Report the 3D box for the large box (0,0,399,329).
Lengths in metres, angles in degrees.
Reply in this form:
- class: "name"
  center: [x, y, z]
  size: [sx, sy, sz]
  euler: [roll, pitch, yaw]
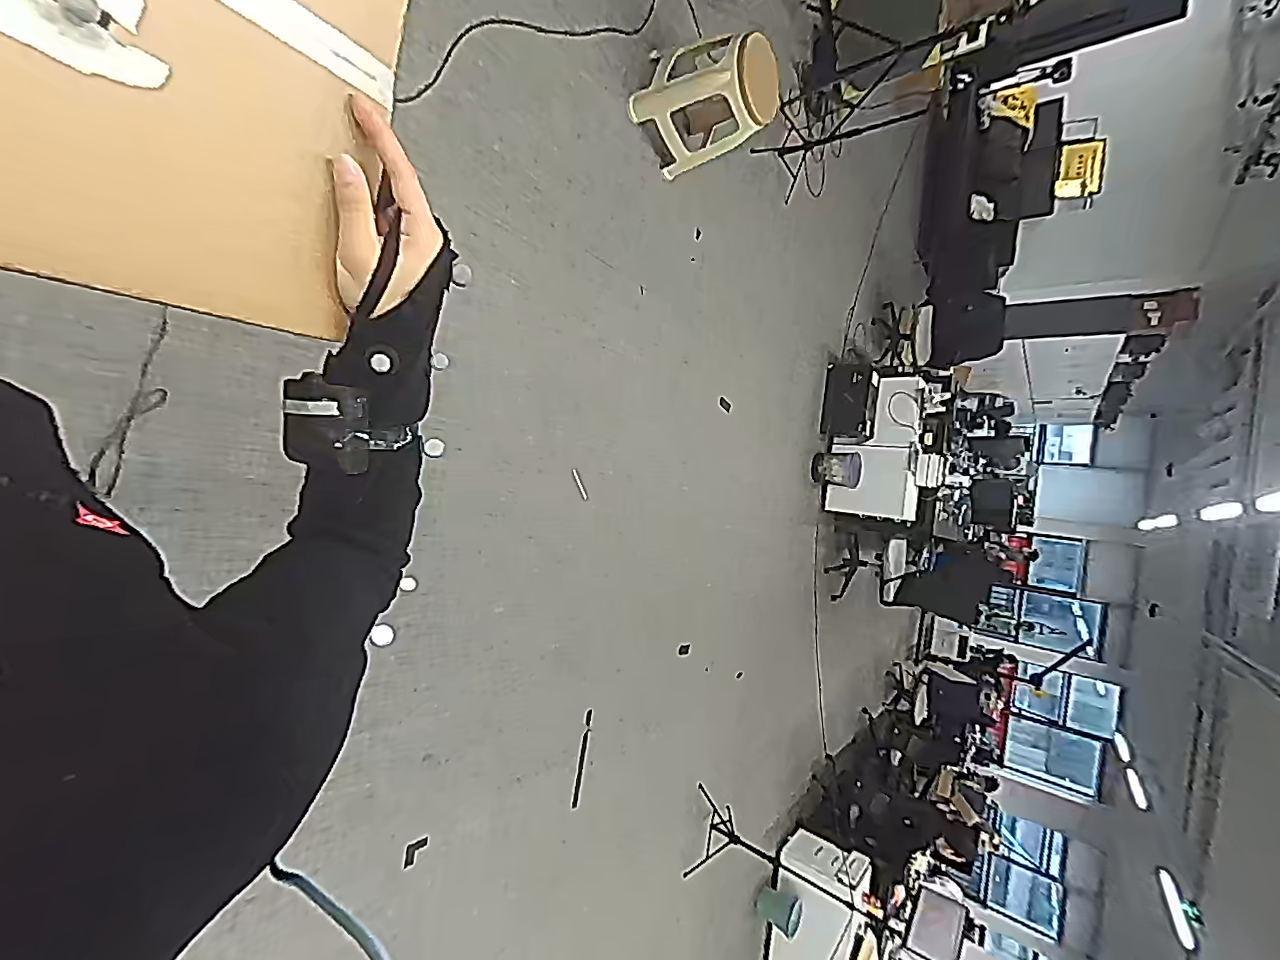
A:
- class: "large box"
  center: [-0.393, -0.287, 0.251]
  size: [0.408, 0.320, 0.320]
  euler: [0, 108, -58]
